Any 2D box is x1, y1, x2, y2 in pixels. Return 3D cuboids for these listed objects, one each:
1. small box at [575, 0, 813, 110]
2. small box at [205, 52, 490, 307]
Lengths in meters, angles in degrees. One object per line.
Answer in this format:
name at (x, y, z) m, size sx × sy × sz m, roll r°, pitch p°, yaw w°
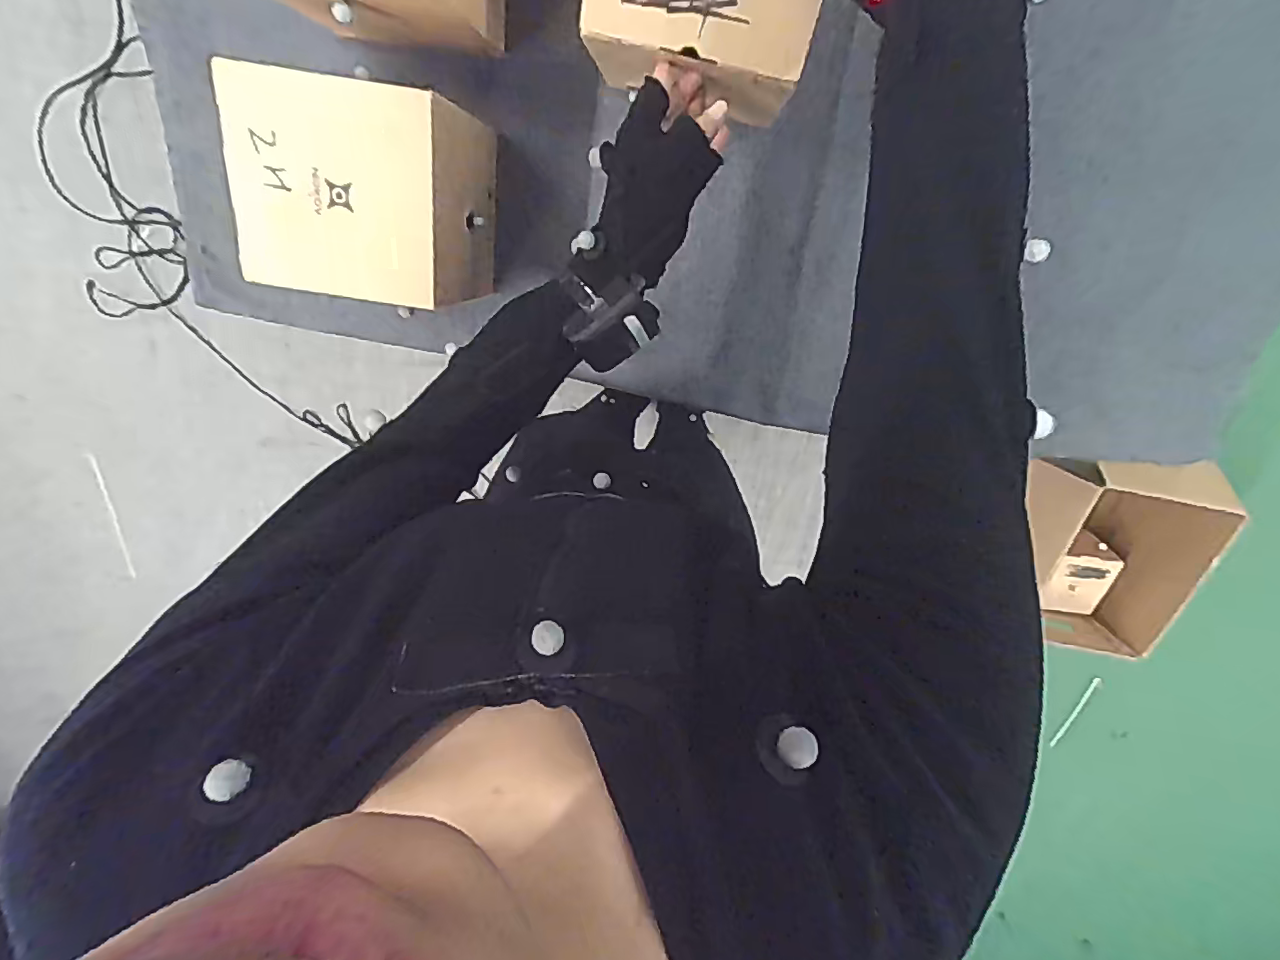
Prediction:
small box at (0.057, -0.417, 0.422) m, size 0.168 × 0.176 × 0.179 m, roll 13°, pitch 115°, yaw -1°
small box at (-0.251, -0.272, 0.516) m, size 0.179 × 0.176 × 0.168 m, roll 9°, pitch 114°, yaw 0°
